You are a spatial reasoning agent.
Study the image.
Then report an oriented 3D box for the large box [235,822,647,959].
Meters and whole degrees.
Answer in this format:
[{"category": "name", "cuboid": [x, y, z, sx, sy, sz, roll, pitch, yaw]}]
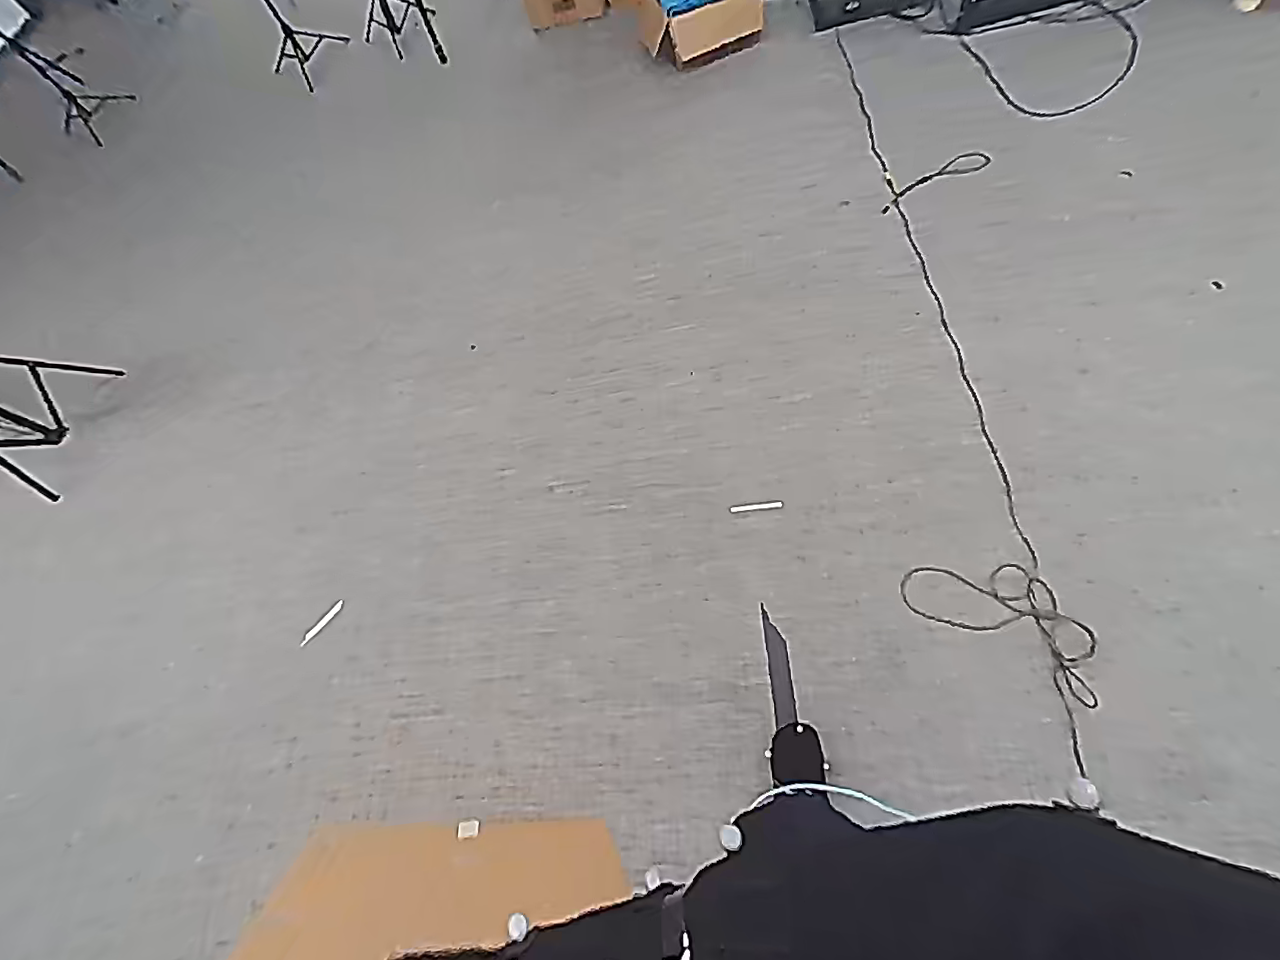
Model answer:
[{"category": "large box", "cuboid": [-0.168, 0.562, 0.433, 0.320, 0.320, 0.408, 6, 79, -15]}]
